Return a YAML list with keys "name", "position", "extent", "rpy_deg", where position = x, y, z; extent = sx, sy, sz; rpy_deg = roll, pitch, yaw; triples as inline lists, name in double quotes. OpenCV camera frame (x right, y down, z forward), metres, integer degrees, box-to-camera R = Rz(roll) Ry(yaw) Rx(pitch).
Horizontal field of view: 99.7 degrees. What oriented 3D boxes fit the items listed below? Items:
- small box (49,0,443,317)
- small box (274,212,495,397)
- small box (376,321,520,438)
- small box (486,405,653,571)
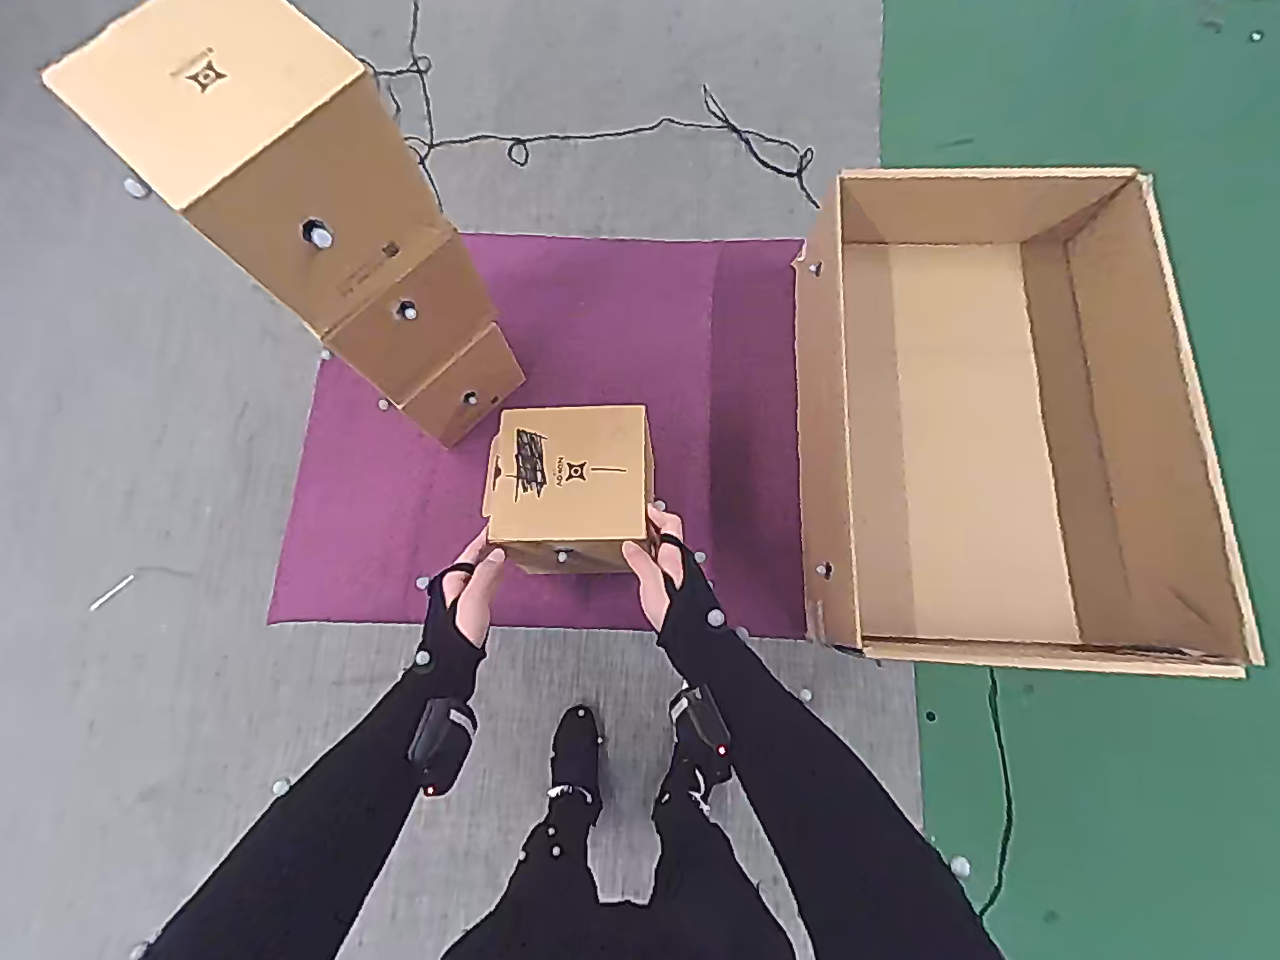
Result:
- name: "small box"
  position: [-0.305, -0.268, 0.462]
  extent: [0.179, 0.176, 0.168]
  rpy_deg: [42, 81, 10]
- name: "small box"
  position: [-0.296, -0.226, 0.618]
  extent: [0.168, 0.176, 0.179]
  rpy_deg: [44, 80, 10]
- name: "small box"
  position: [-0.298, -0.180, 0.774]
  extent: [0.179, 0.176, 0.168]
  rpy_deg: [44, 80, 11]
- name: "small box"
  position: [-0.076, 0.019, 0.689]
  extent: [0.179, 0.176, 0.168]
  rpy_deg: [-1, 68, 4]
